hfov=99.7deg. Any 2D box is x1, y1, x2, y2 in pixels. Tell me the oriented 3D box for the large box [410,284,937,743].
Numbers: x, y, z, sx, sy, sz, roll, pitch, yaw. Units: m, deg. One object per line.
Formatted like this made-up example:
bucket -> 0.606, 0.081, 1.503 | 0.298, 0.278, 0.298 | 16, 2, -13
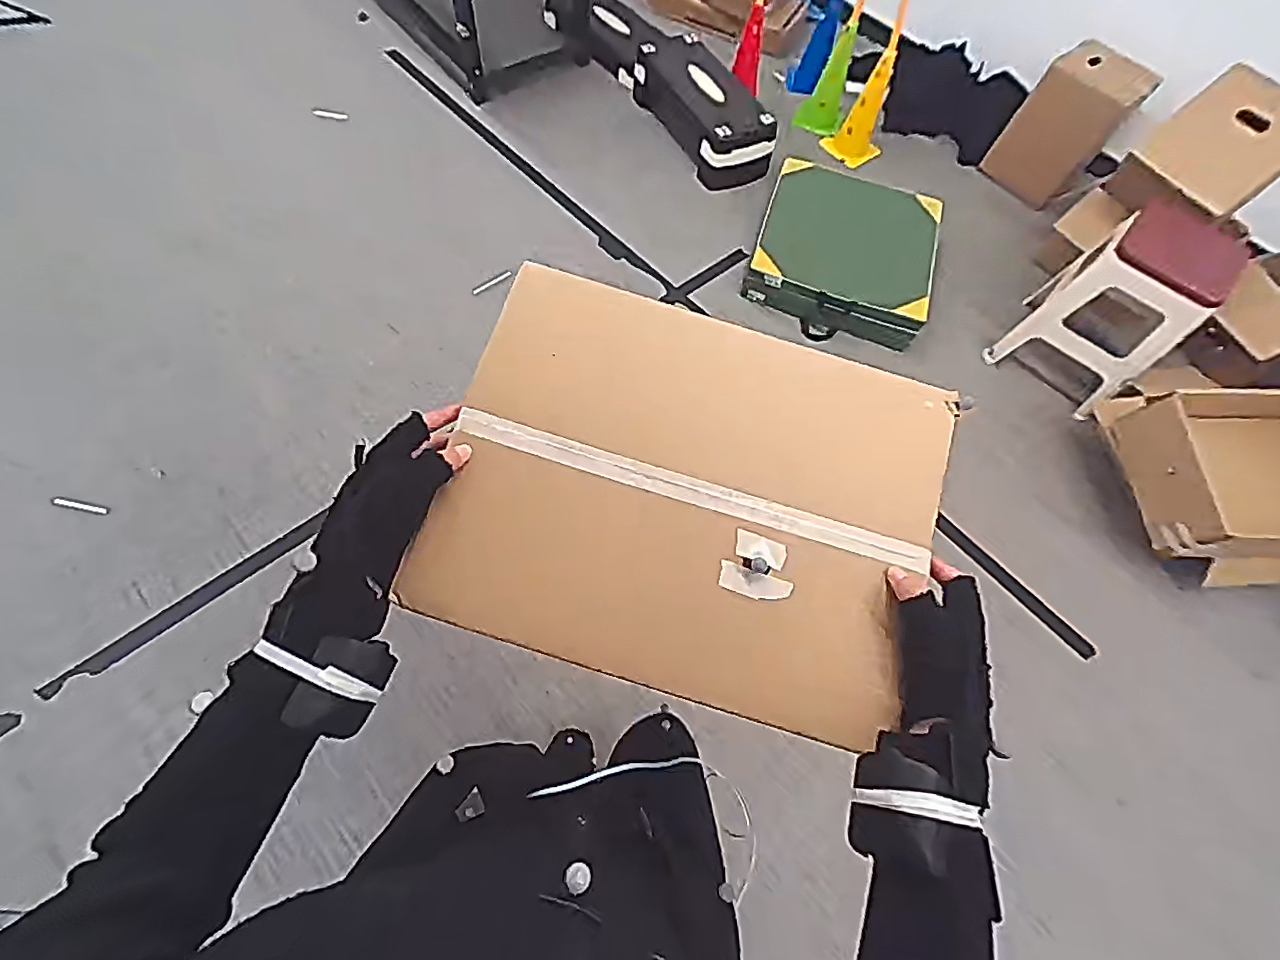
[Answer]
large box -> 0.033, 0.046, 0.611 | 0.408, 0.320, 0.320 | 18, 78, 0
